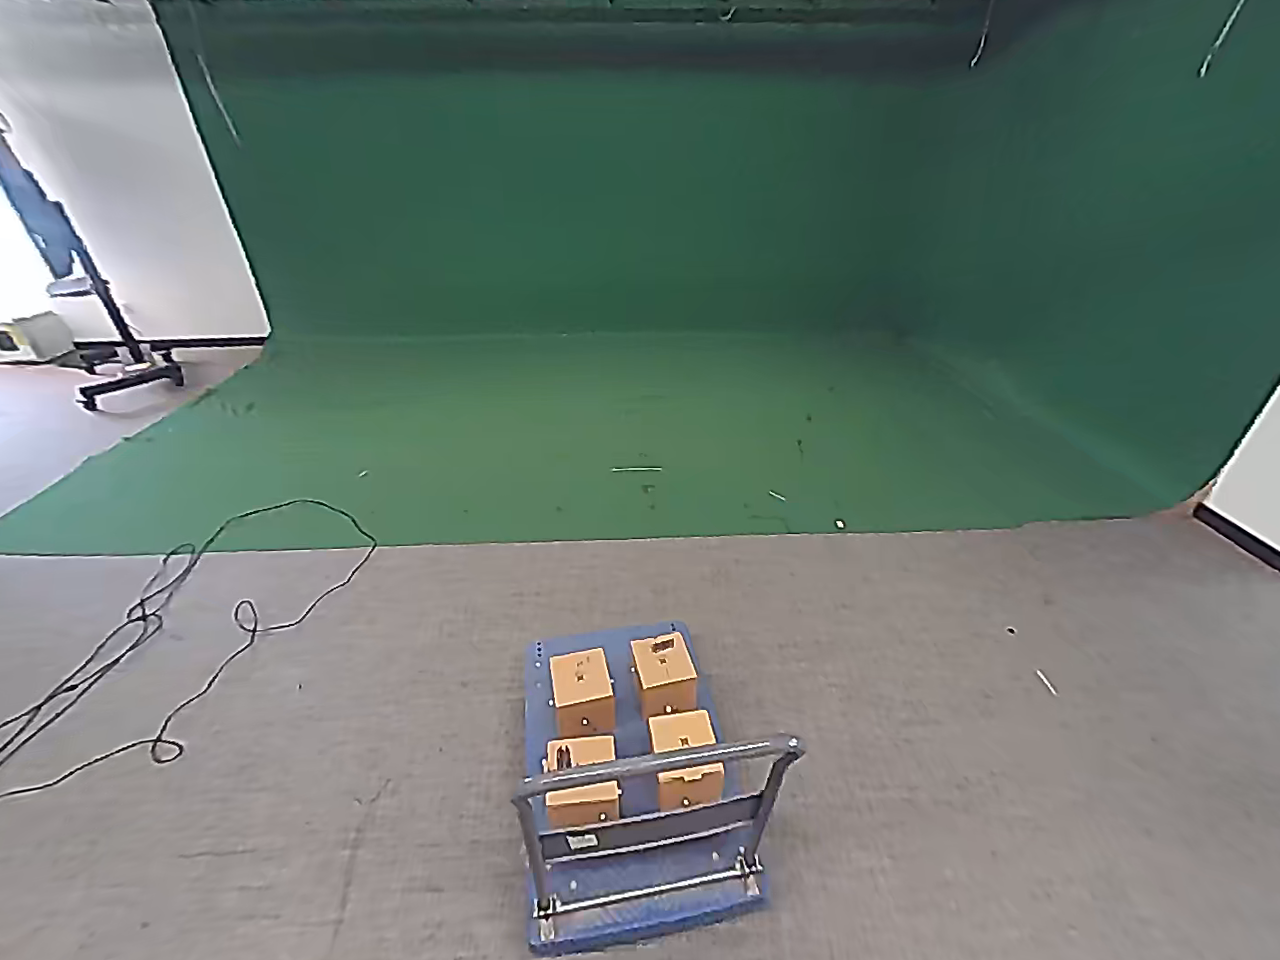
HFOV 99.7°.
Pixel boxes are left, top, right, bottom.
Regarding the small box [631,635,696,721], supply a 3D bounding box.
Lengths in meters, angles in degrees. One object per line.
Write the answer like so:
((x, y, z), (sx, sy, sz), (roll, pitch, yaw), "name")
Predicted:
((0.068, 0.618, 1.690), (0.168, 0.176, 0.179), (-8, 35, -11), "small box")

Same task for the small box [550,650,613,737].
((-0.176, 0.653, 1.639), (0.168, 0.176, 0.179), (-7, 34, -12), "small box")

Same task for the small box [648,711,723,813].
((0.116, 0.764, 1.467), (0.168, 0.176, 0.179), (-5, 34, -8), "small box")
